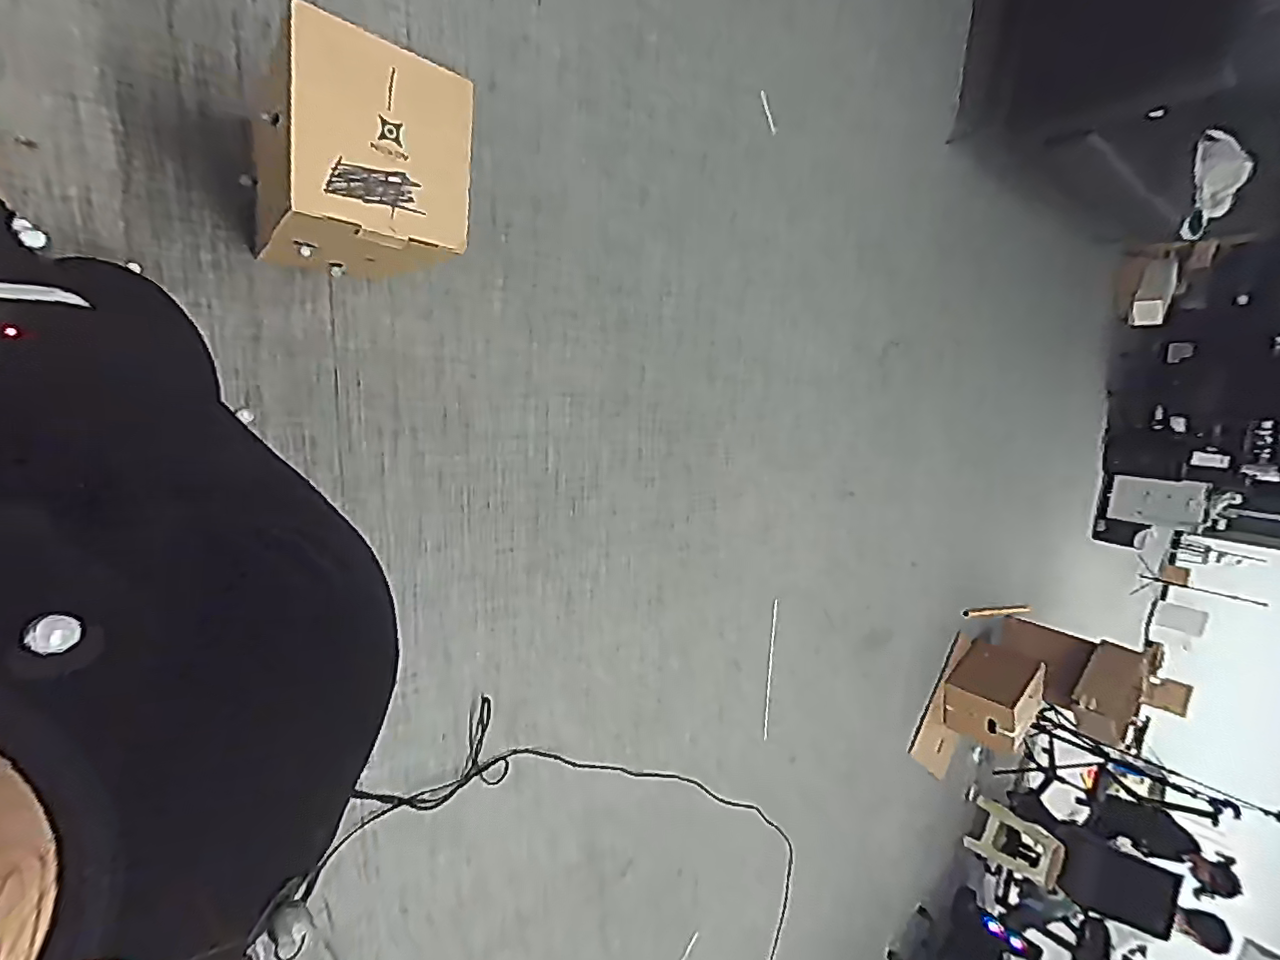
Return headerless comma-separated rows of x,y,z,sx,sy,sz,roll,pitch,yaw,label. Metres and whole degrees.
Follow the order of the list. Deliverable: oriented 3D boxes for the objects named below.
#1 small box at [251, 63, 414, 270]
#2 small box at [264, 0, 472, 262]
-0.399,-0.384,0.707,0.168,0.176,0.179,-3,103,-40,small box
-0.296,-0.349,0.583,0.168,0.176,0.179,-2,100,-40,small box
